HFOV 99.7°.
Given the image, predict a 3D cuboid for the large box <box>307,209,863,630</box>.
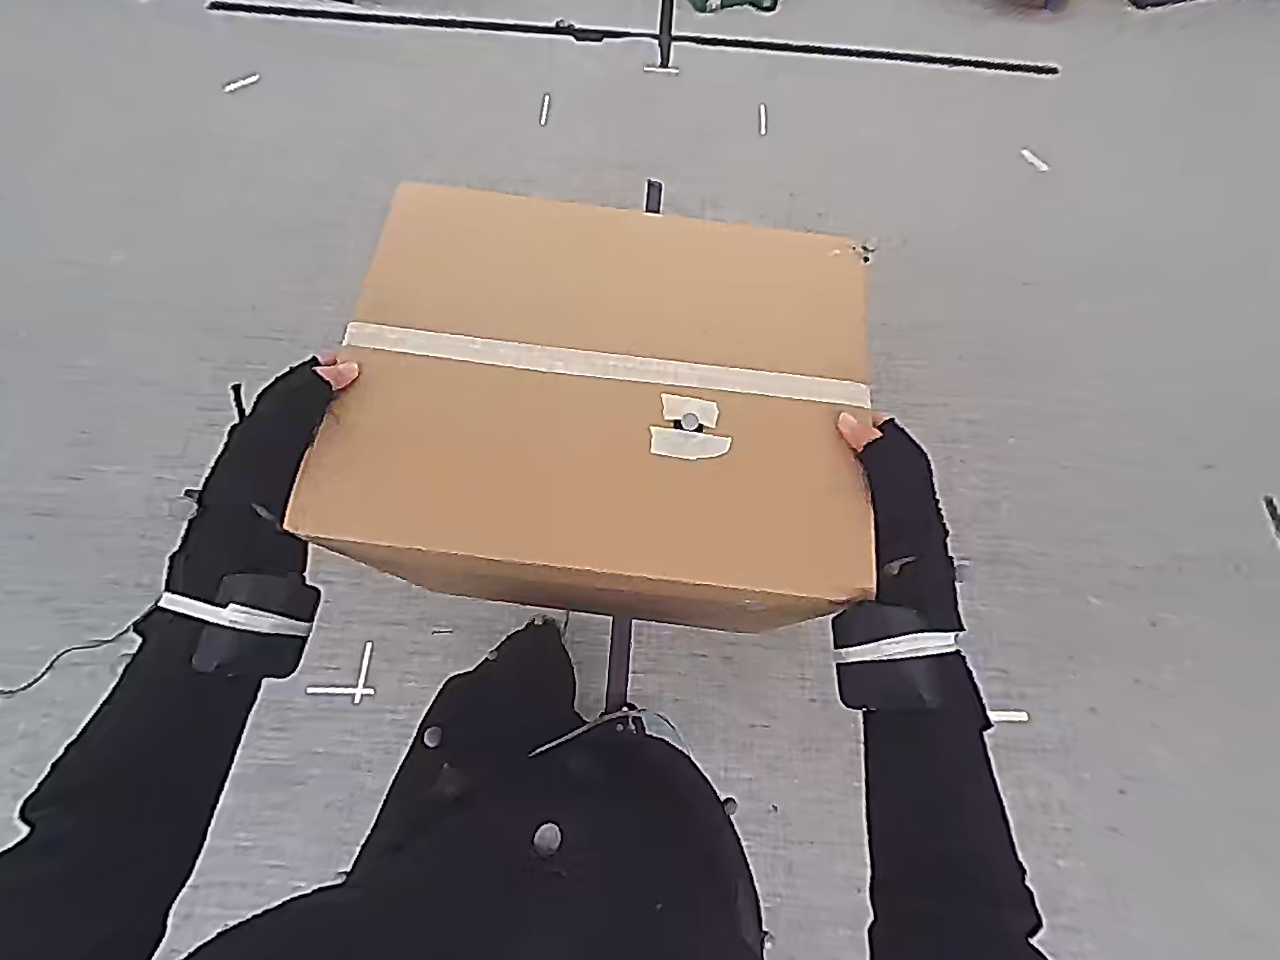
[{"bbox_3d":[-0.033,-0.028,0.569,0.408,0.320,0.320,7,71,-1],"label":"large box"}]
